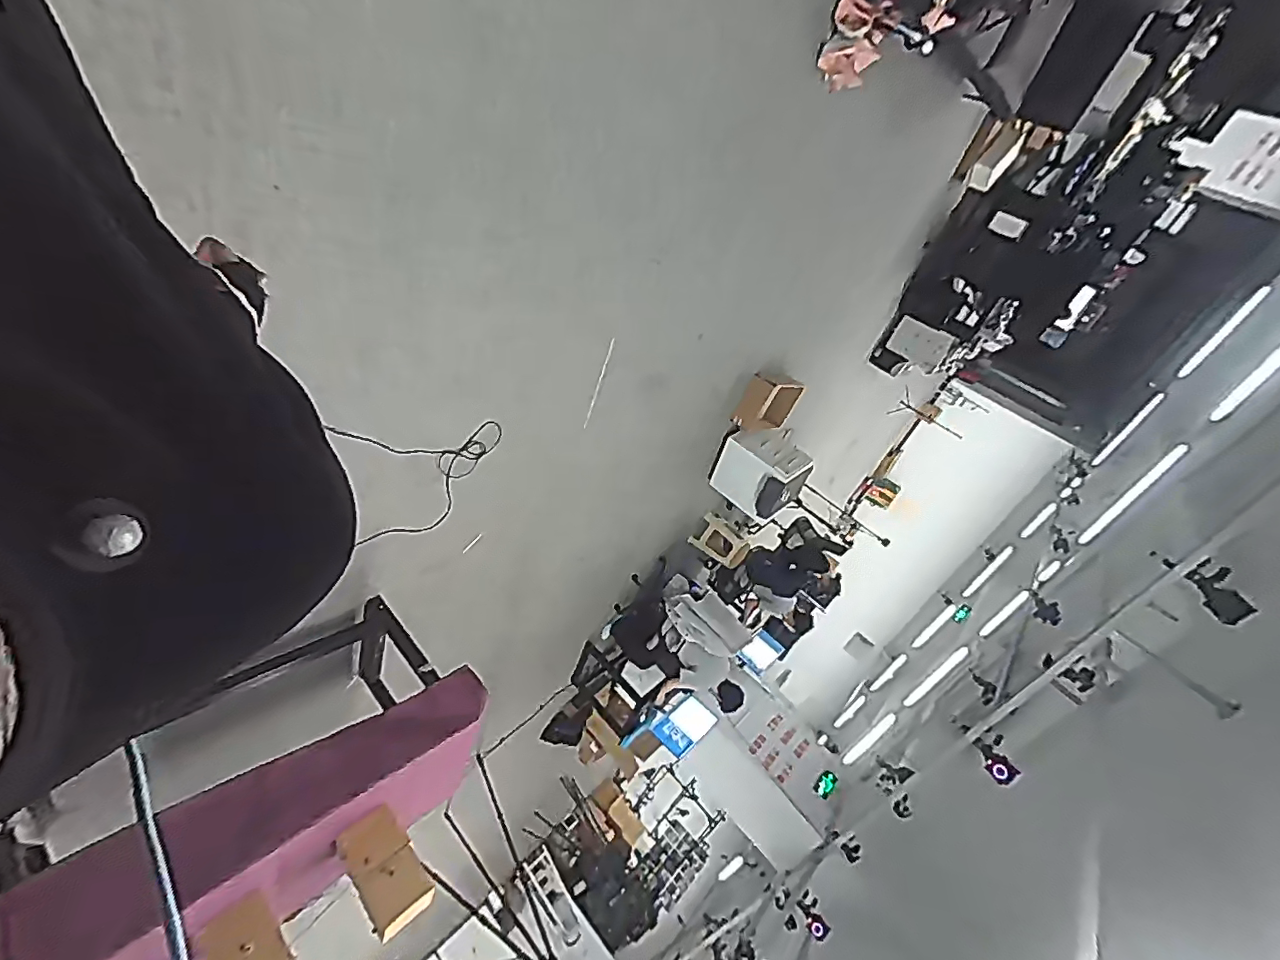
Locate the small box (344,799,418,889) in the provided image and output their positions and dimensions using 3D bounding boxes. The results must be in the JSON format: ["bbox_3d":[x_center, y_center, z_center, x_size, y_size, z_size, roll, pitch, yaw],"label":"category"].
[{"bbox_3d":[-0.904,1.259,1.883,0.179,0.176,0.168,-20,142,-45],"label":"small box"}]

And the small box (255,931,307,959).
[{"bbox_3d":[-1.040,1.444,1.526,0.179,0.176,0.168,-21,142,-47],"label":"small box"}]

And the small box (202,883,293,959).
[{"bbox_3d":[-1.154,1.346,1.594,0.179,0.176,0.168,-19,141,-47],"label":"small box"}]

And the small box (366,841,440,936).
[{"bbox_3d":[-0.797,1.361,1.810,0.168,0.176,0.179,-21,143,-45],"label":"small box"}]
